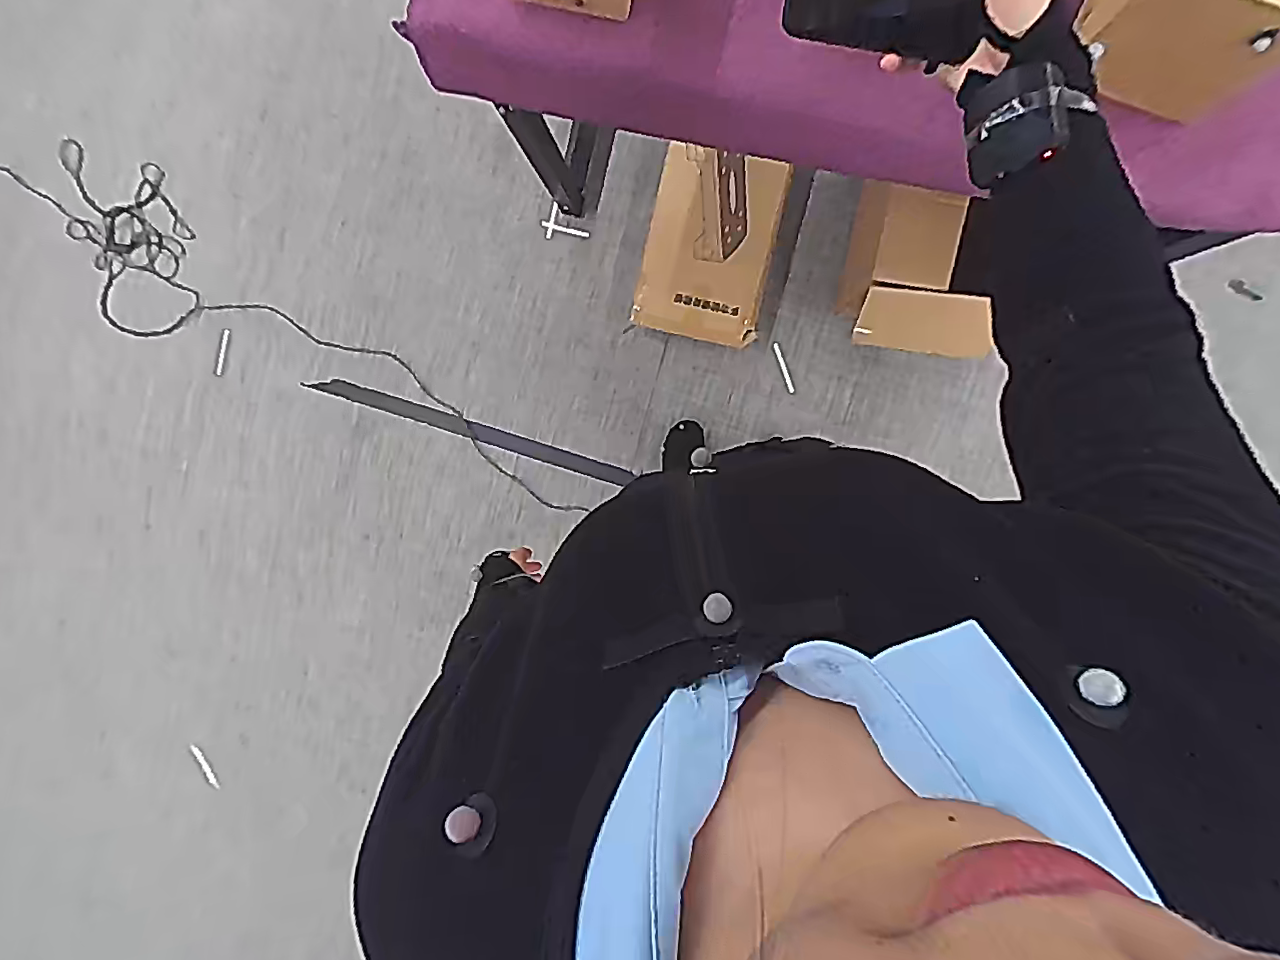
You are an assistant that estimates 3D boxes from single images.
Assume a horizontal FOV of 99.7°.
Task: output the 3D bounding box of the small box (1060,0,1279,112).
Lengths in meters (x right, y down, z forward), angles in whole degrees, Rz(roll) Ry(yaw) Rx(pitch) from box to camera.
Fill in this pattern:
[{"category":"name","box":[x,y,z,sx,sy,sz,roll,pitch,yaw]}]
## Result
[{"category":"small box","box":[0.606,-0.536,0.572,0.179,0.176,0.168,21,97,3]}]
